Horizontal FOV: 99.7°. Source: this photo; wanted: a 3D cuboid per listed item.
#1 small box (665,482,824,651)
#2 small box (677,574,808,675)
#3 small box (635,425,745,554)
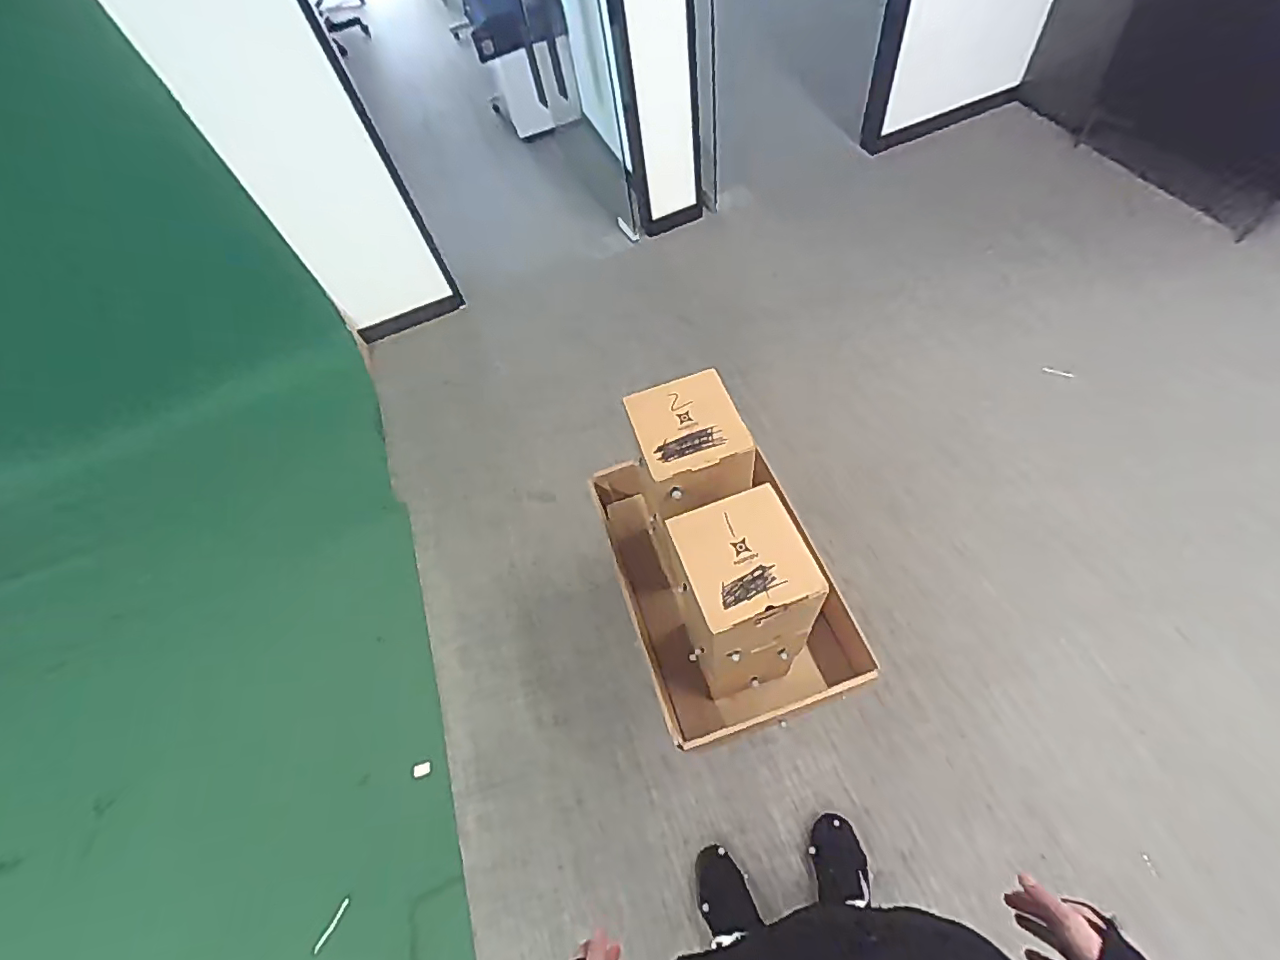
[{"bbox_3d":[0.148,0.137,0.799,0.168,0.176,0.179,-19,57,-4],"label":"small box"},{"bbox_3d":[0.171,0.223,0.937,0.168,0.176,0.179,-18,58,-3],"label":"small box"},{"bbox_3d":[0.099,0.026,1.072,0.168,0.176,0.179,-19,60,-4],"label":"small box"}]
